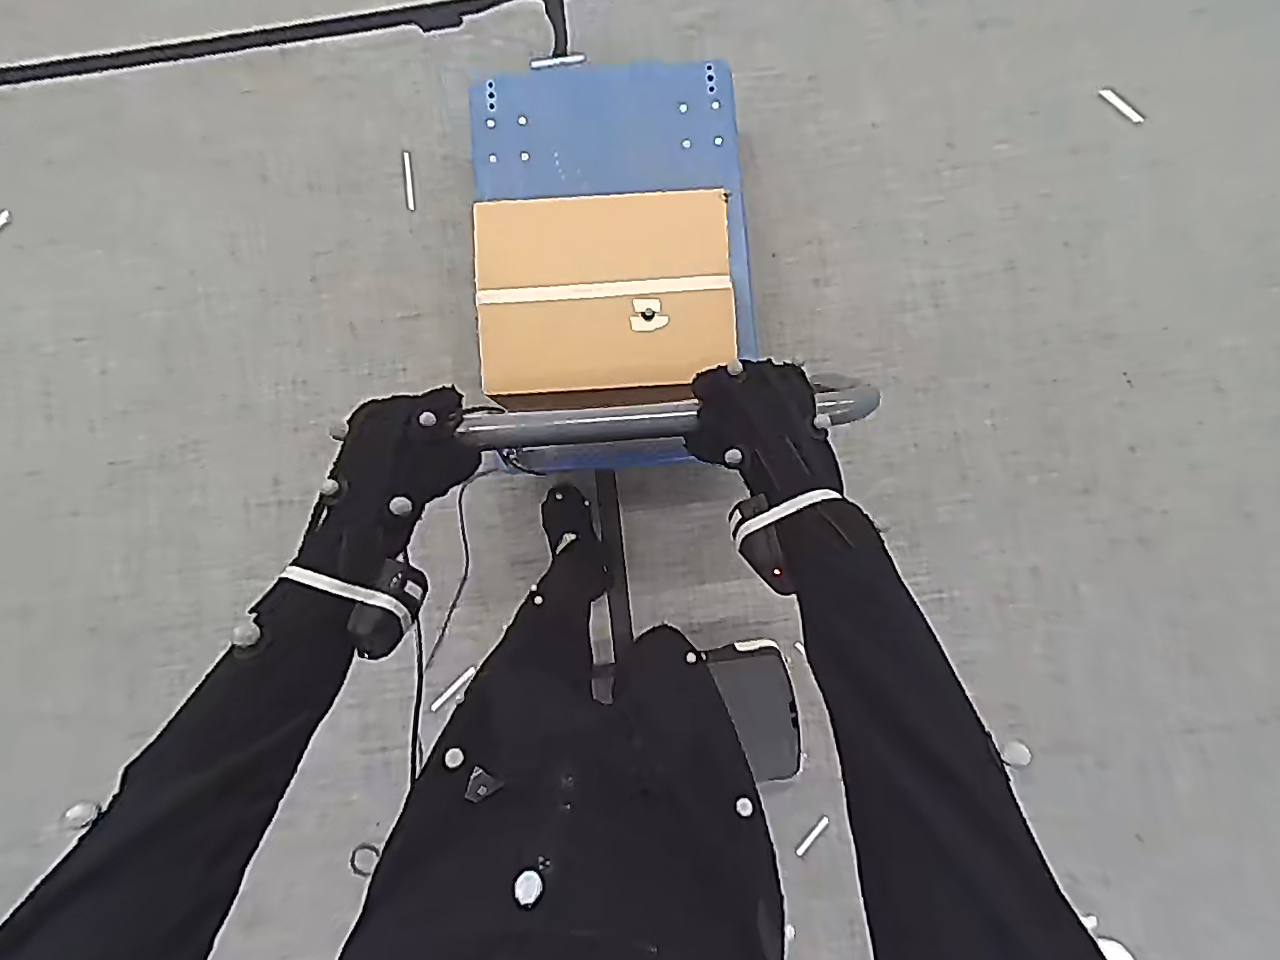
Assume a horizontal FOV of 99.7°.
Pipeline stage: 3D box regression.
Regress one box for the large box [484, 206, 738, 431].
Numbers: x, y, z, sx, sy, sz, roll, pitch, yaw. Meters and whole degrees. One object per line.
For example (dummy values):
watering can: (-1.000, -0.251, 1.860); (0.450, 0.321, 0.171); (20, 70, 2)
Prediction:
large box: (-0.051, -0.278, 1.025); (0.408, 0.320, 0.320); (-3, 88, -1)
